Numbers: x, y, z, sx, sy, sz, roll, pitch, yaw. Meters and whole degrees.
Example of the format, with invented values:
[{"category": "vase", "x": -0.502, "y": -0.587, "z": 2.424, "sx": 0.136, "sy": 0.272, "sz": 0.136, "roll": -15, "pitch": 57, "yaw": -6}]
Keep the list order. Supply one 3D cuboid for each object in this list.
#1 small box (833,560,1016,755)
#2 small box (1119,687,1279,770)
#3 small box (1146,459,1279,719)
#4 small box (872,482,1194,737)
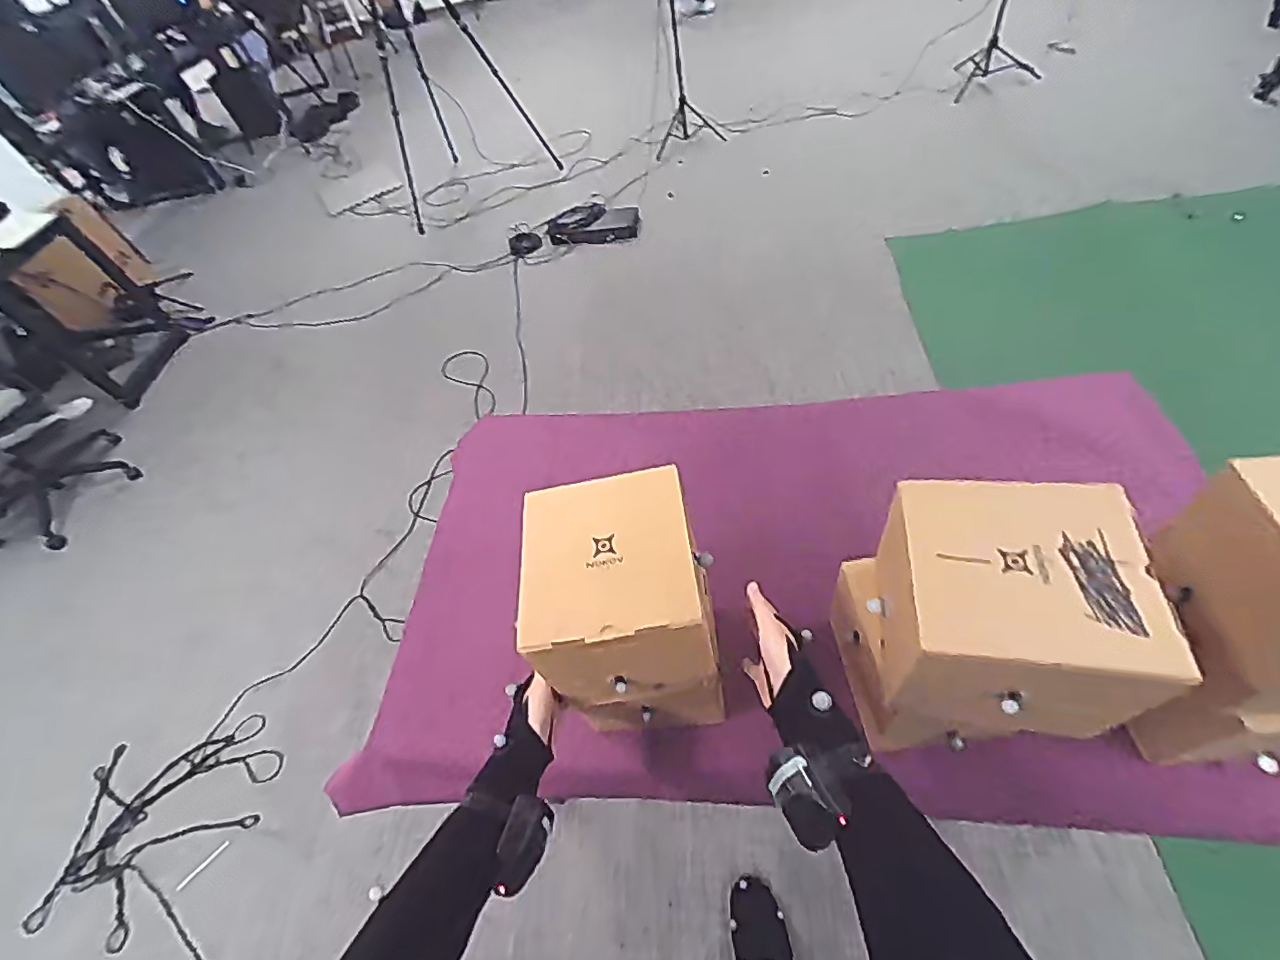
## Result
[{"category": "small box", "x": 0.335, "y": 0.203, "z": 0.635, "sx": 0.168, "sy": 0.176, "sz": 0.179, "roll": -10, "pitch": 51, "yaw": 7}, {"category": "small box", "x": 0.626, "y": 0.198, "z": 0.569, "sx": 0.179, "sy": 0.176, "sz": 0.168, "roll": -8, "pitch": 51, "yaw": 8}, {"category": "small box", "x": 0.584, "y": 0.095, "z": 0.448, "sx": 0.179, "sy": 0.176, "sz": 0.168, "roll": -4, "pitch": 52, "yaw": 12}, {"category": "small box", "x": 0.319, "y": 0.120, "z": 0.491, "sx": 0.179, "sy": 0.176, "sz": 0.168, "roll": 2, "pitch": 53, "yaw": 16}]
